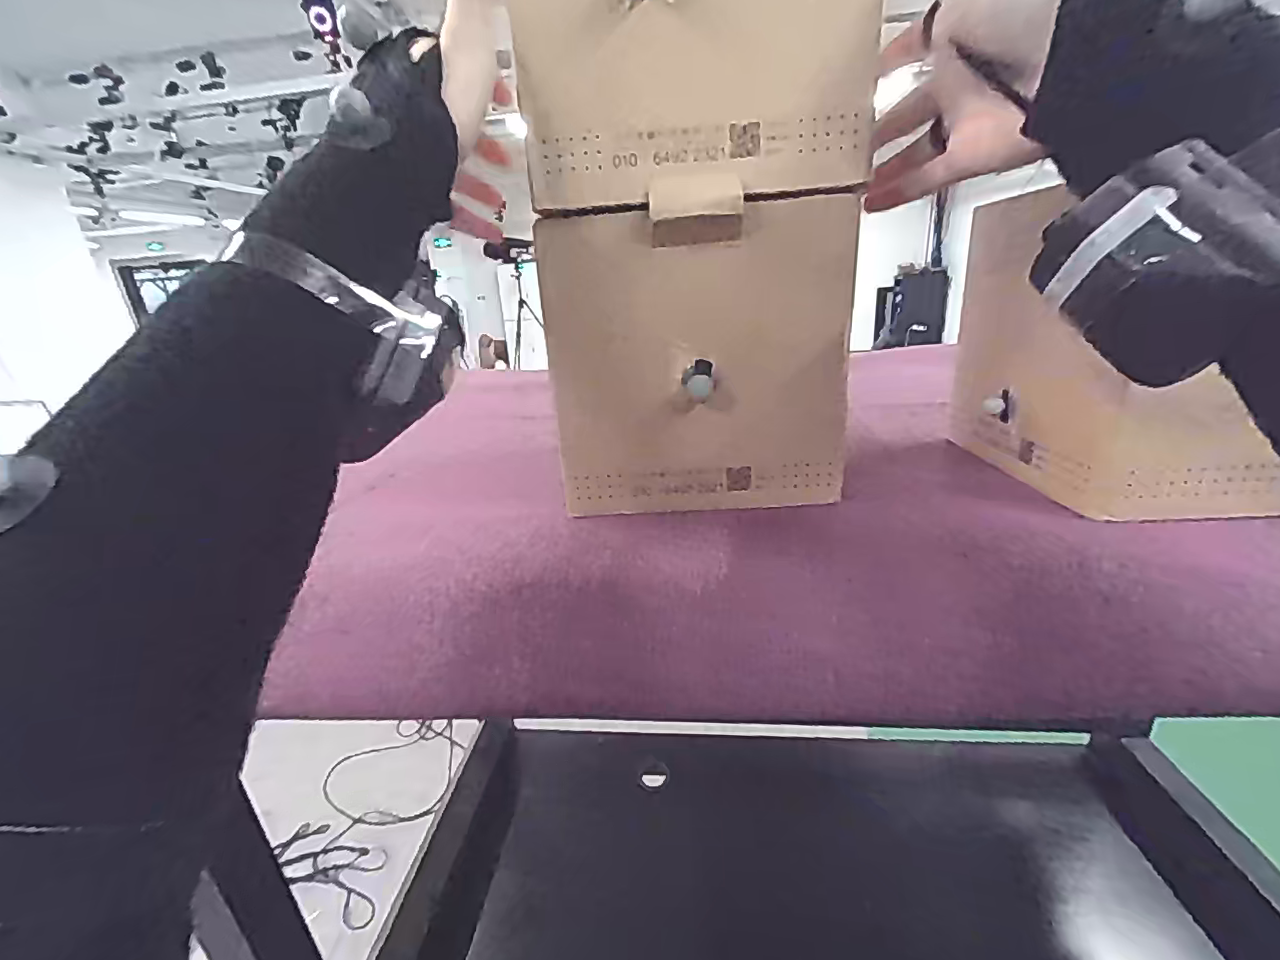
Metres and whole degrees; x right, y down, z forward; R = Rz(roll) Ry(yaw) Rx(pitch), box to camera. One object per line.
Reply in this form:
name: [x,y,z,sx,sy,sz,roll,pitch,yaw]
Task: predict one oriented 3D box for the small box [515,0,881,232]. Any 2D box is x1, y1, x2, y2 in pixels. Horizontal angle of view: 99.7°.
small box: [0.026,-0.246,0.306,0.168,0.176,0.179,-4,19,1]
